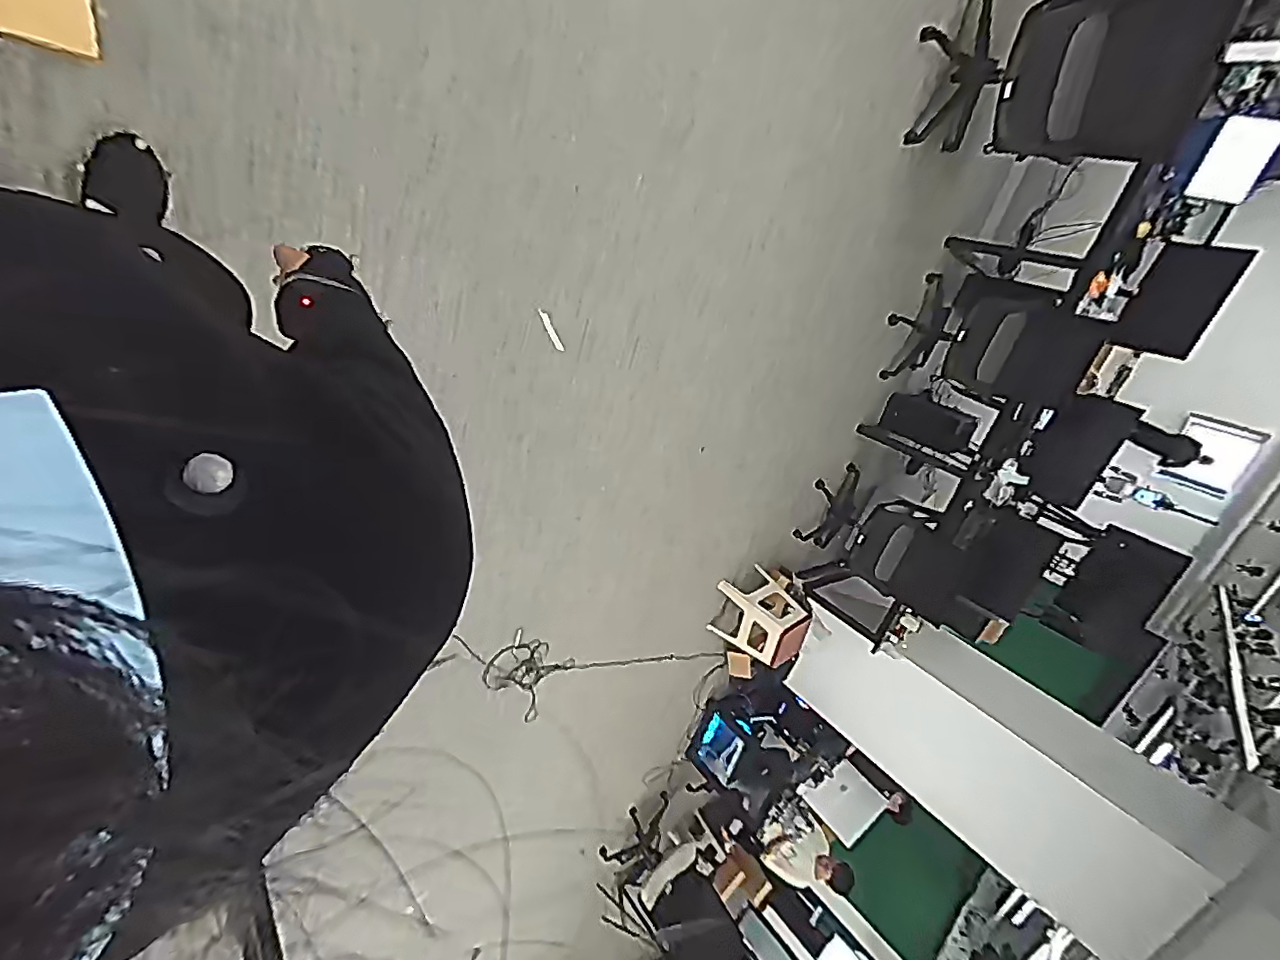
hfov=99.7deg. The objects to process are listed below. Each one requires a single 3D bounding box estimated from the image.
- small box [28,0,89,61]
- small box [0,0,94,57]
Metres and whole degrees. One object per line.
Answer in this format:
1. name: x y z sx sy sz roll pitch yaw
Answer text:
1. small box: -0.911 -0.741 0.776 0.168 0.176 0.179 2 115 -46
2. small box: -0.815 -0.658 0.672 0.179 0.176 0.168 -8 123 -41
